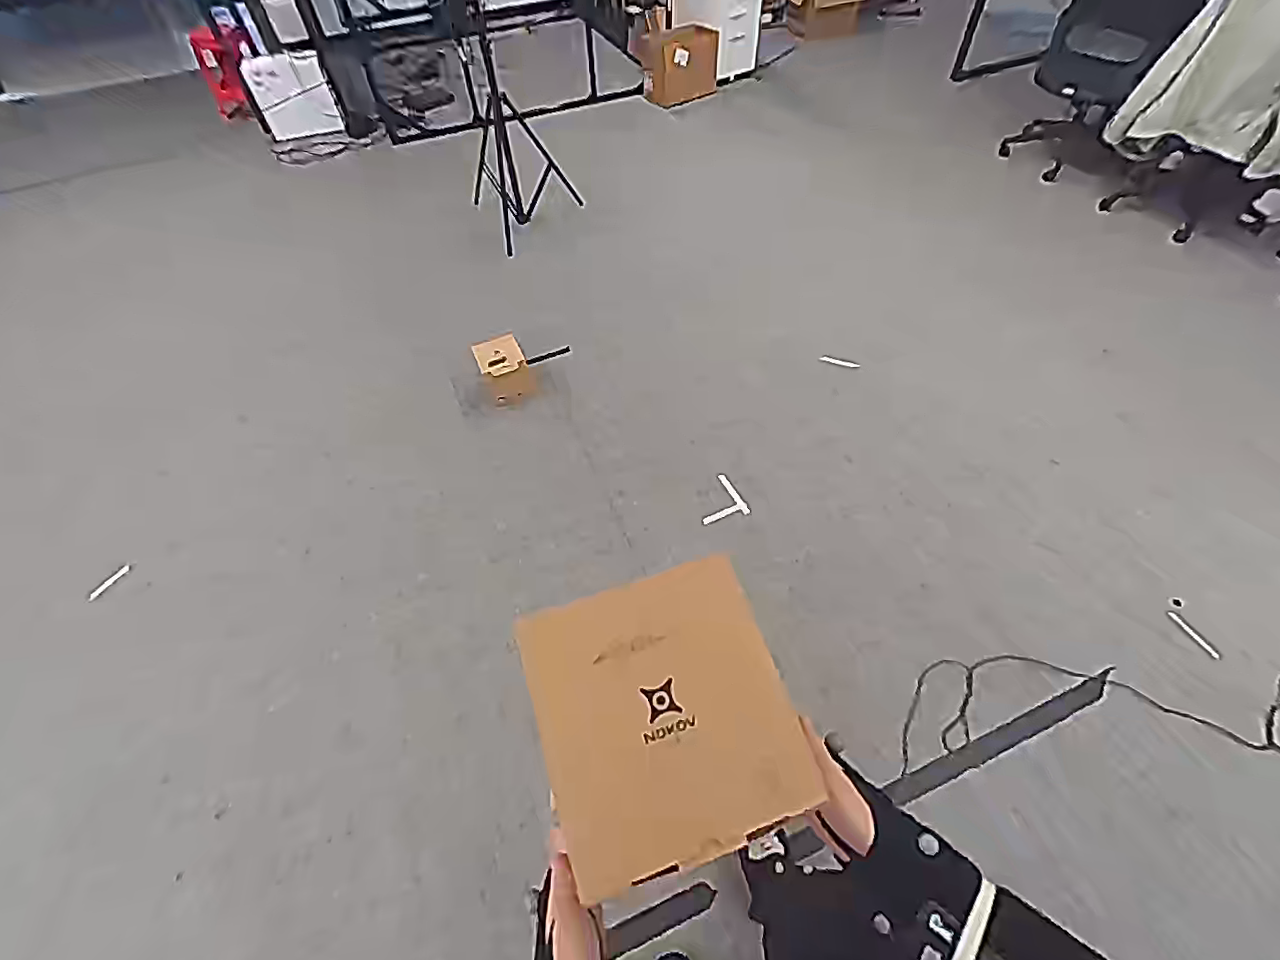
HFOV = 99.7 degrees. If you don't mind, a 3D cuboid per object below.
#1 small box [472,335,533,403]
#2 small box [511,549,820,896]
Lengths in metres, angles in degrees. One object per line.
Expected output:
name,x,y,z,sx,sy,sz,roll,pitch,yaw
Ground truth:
small box,-0.525,-0.420,2.079,0.168,0.176,0.179,-22,55,-13
small box,0.010,0.182,0.434,0.168,0.176,0.179,-17,65,-10
